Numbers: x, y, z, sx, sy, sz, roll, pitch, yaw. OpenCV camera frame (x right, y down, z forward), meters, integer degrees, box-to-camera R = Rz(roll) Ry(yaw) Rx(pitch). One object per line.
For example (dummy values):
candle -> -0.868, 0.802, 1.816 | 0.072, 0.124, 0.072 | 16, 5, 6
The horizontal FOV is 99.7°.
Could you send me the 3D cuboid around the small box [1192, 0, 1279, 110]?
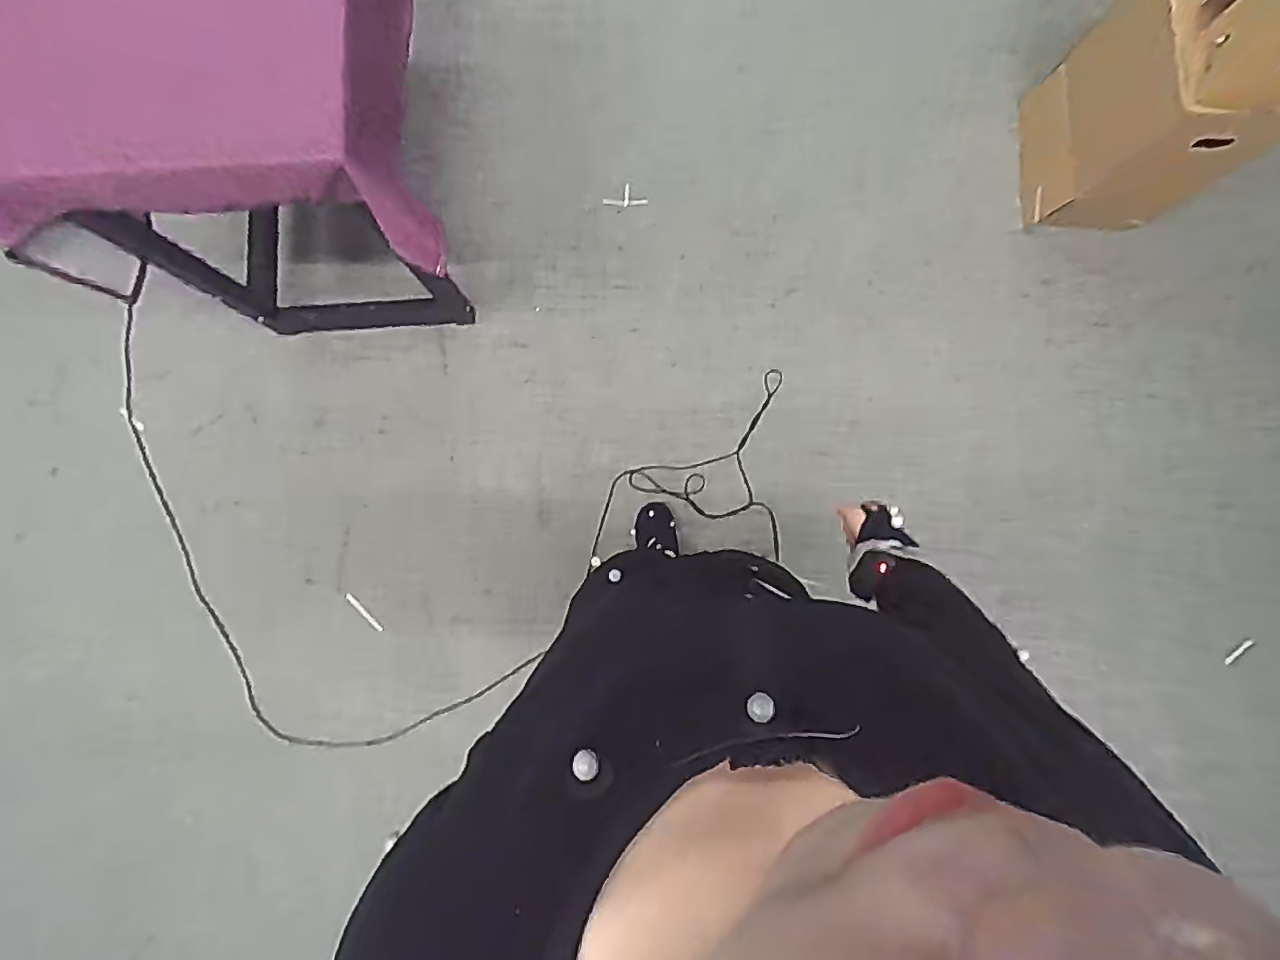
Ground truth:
small box -> 1.269, -0.877, 1.075 | 0.179, 0.176, 0.168 | 7, 83, 2
